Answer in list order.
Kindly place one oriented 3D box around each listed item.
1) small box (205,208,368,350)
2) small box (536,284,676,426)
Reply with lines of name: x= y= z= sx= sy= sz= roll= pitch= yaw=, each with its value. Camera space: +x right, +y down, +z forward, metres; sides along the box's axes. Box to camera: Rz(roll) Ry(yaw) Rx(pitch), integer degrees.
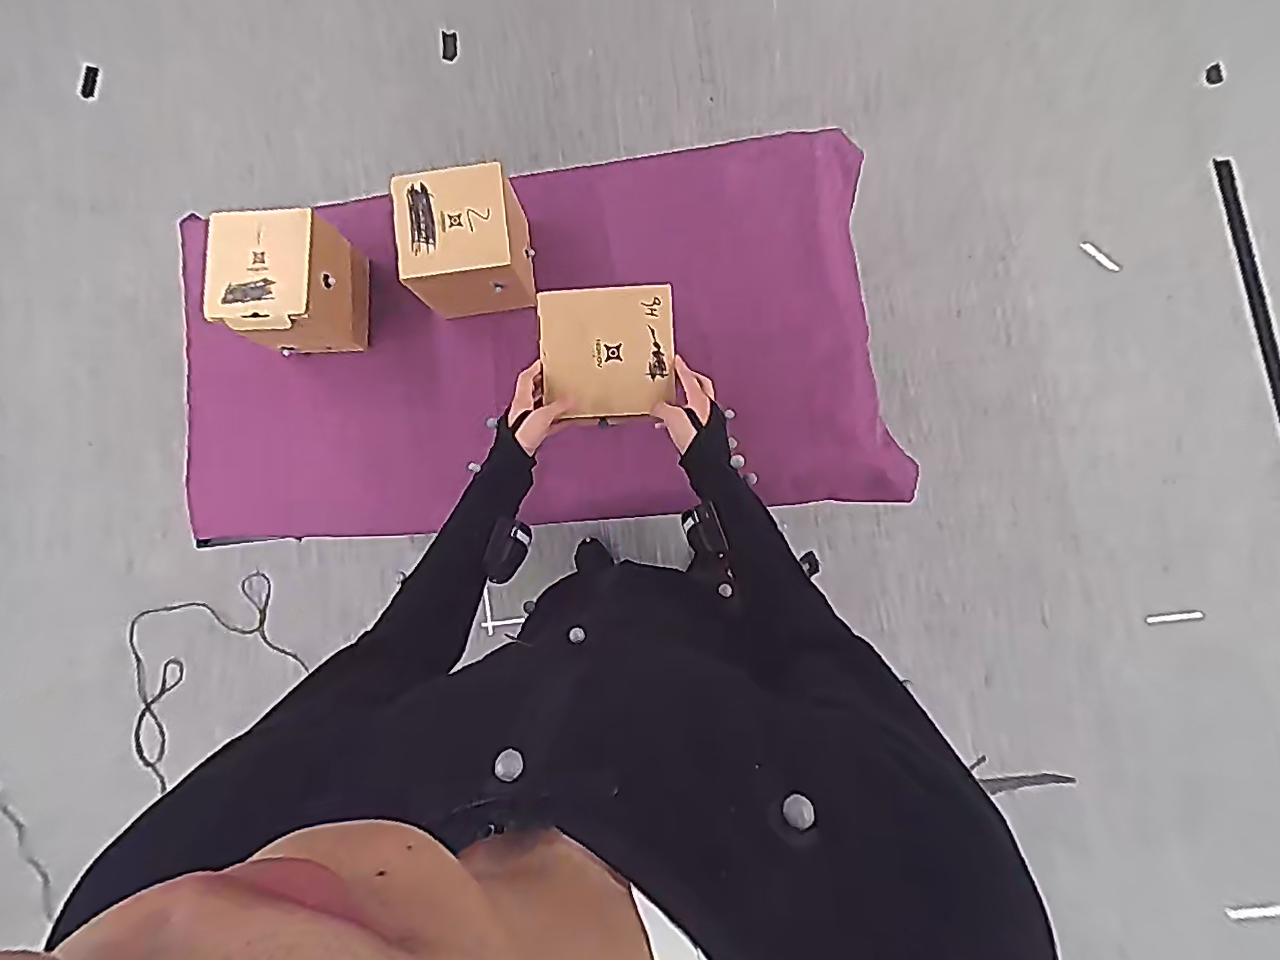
small box: x=-0.580 y=-0.323 z=0.906 sx=0.168 sy=0.176 sz=0.179 roll=-1 pitch=85 yaw=3
small box: x=-0.039 y=-0.165 z=0.765 sx=0.179 sy=0.176 sz=0.168 roll=-3 pitch=93 yaw=3
